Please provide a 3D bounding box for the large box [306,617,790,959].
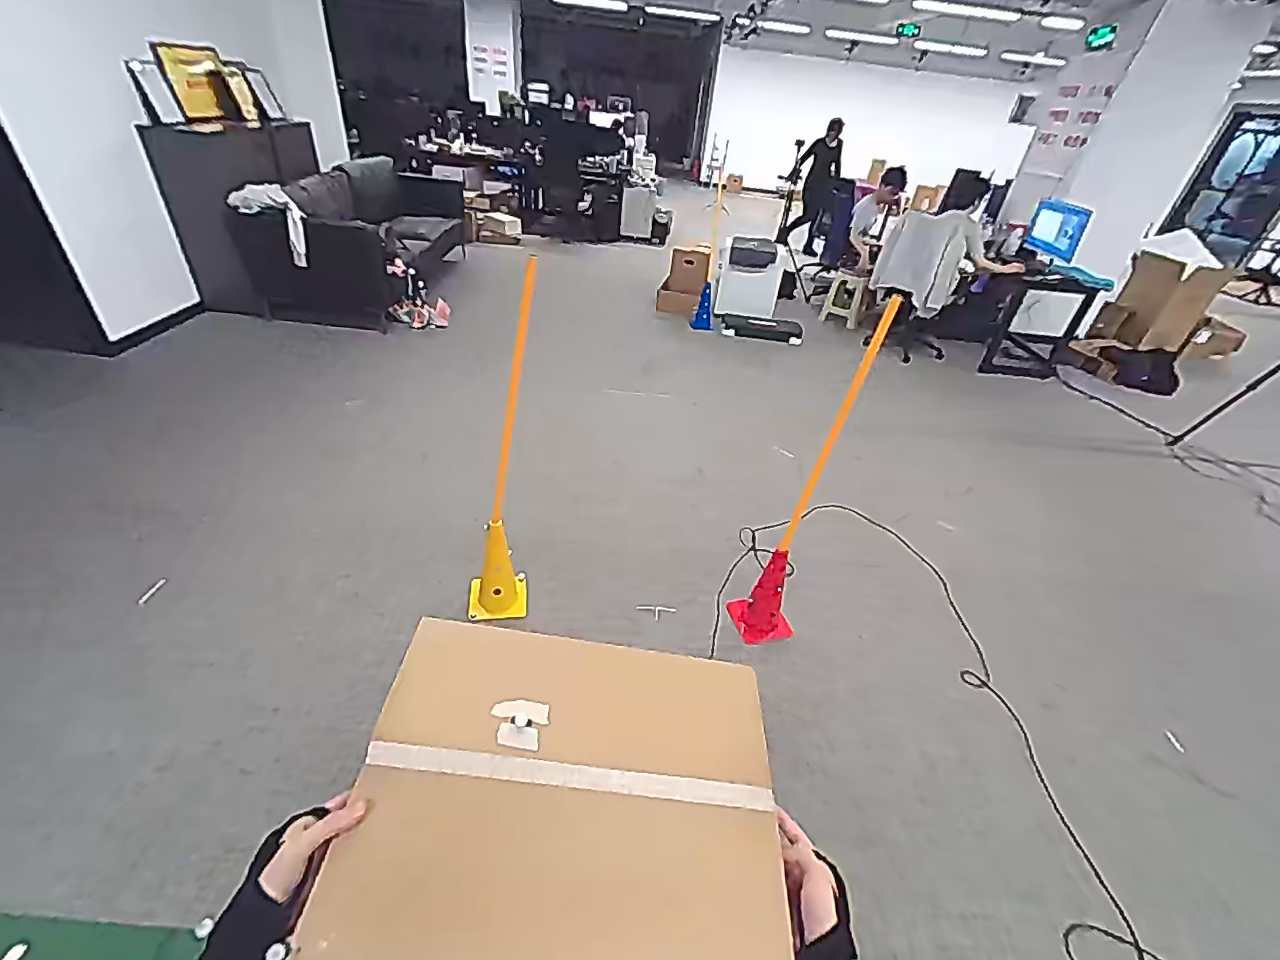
[{"bbox_3d":[-0.086,0.403,0.646,0.408,0.320,0.320,10,40,-5],"label":"large box"}]
